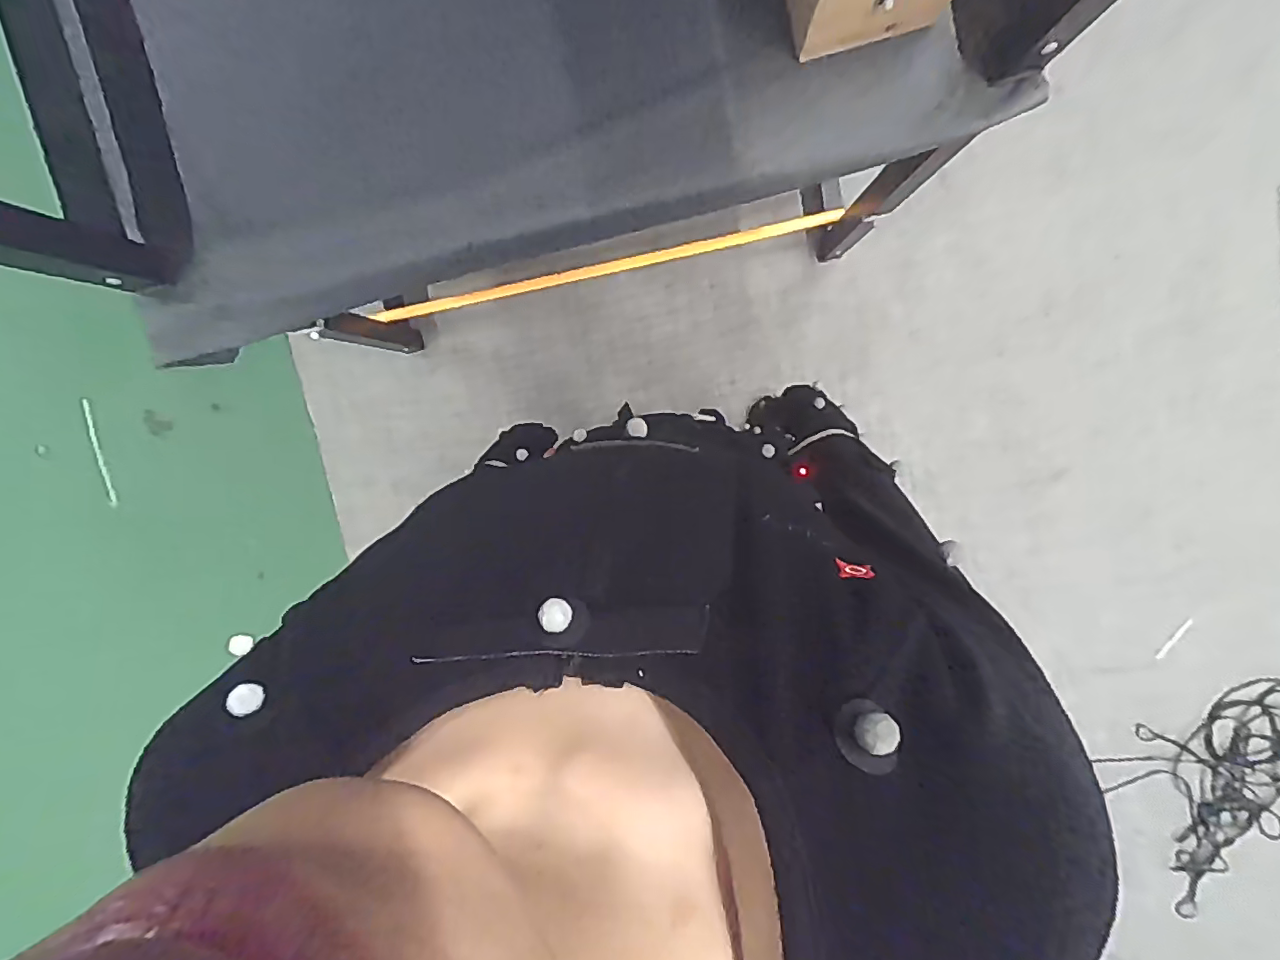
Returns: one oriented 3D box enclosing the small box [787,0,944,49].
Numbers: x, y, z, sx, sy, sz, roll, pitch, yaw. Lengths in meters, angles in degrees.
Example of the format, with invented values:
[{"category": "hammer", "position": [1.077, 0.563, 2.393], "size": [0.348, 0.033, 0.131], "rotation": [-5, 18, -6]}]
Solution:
[{"category": "small box", "position": [0.248, -0.597, 0.562], "size": [0.168, 0.176, 0.179], "rotation": [-13, 96, 5]}]
